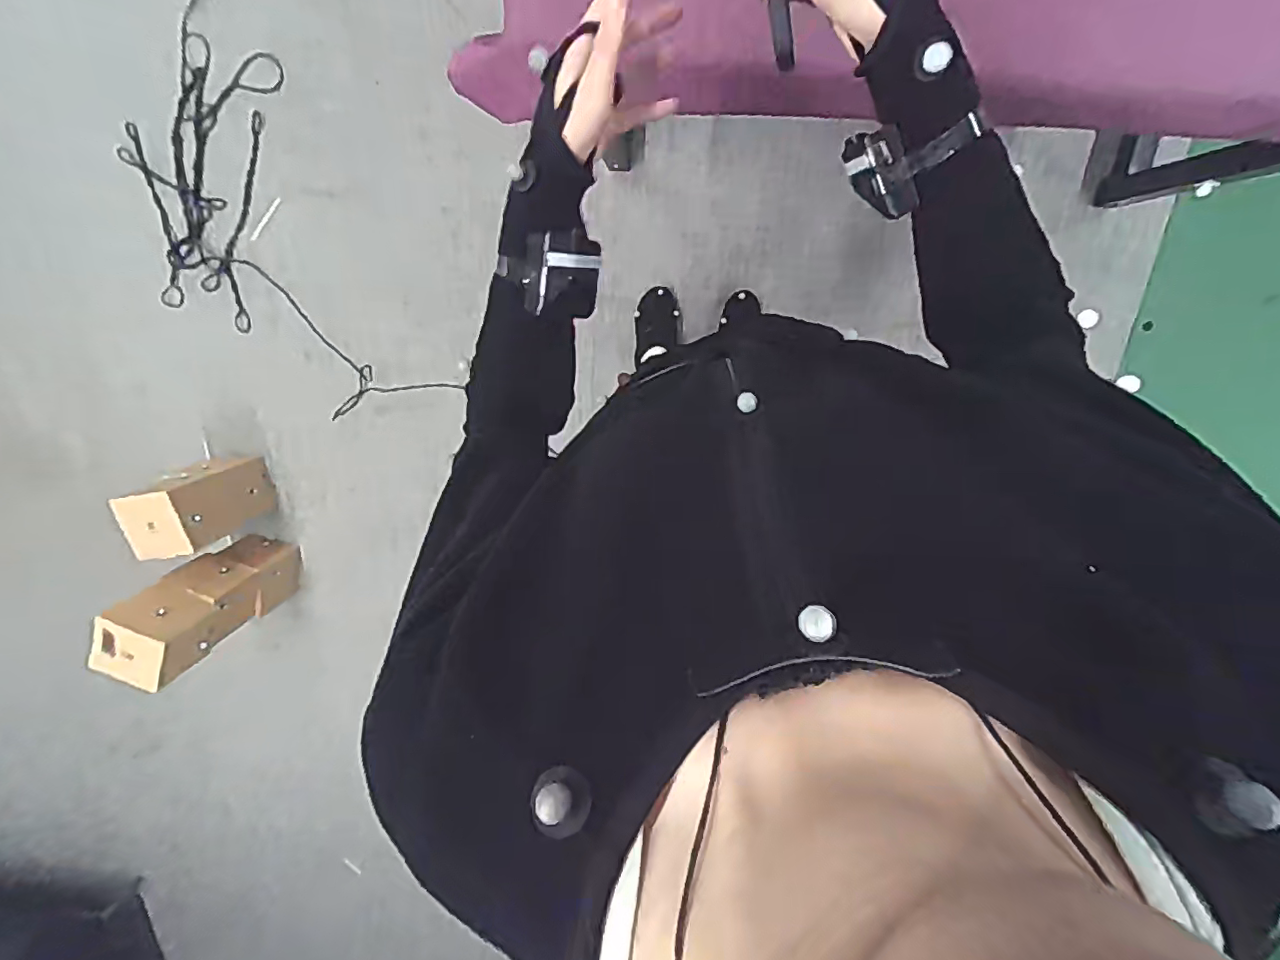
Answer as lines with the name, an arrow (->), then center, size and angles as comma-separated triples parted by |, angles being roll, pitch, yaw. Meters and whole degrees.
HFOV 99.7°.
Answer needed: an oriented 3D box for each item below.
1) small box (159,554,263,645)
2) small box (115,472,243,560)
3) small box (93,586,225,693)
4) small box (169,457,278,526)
small box -> -1.208, 0.340, 1.528 | 0.168, 0.176, 0.179 | 21, 108, -1
small box -> -1.213, 0.093, 1.441 | 0.168, 0.176, 0.179 | -7, 108, 7
small box -> -1.215, 0.394, 1.373 | 0.179, 0.176, 0.168 | 25, 108, -4
small box -> -1.212, 0.033, 1.594 | 0.179, 0.176, 0.168 | -3, 108, 7
